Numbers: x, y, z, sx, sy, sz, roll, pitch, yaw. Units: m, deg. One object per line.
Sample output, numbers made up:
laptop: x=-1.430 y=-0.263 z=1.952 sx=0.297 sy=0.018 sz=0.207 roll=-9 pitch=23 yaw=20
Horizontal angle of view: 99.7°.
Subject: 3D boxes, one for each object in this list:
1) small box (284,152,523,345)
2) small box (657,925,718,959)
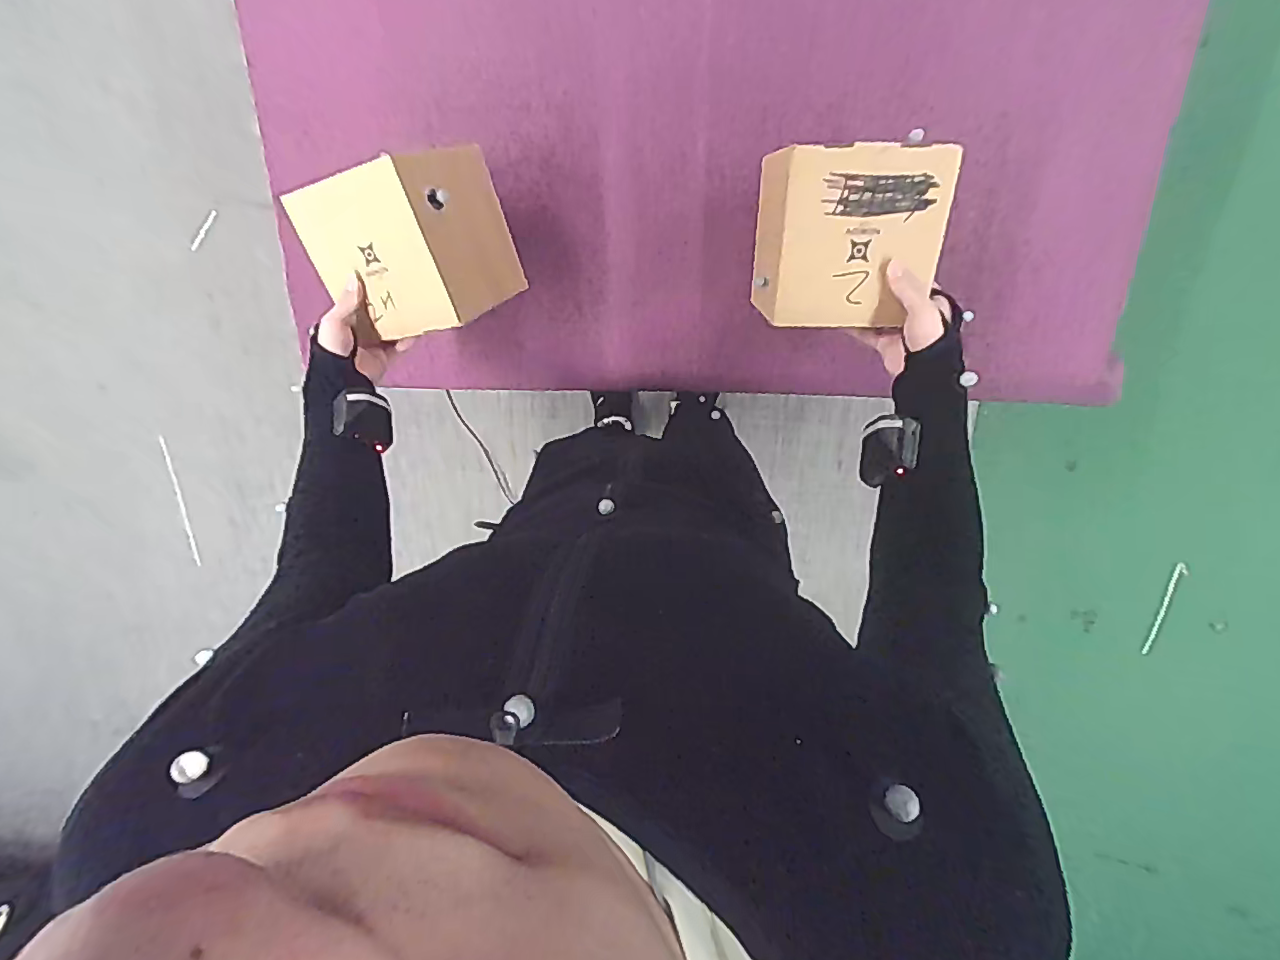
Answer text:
small box: x=-0.274 y=-0.287 z=0.666 sx=0.168 sy=0.176 sz=0.179 roll=-3 pitch=121 yaw=23
small box: x=0.149 y=1.573 z=1.725 sx=0.179 sy=0.176 sz=0.168 roll=13 pitch=109 yaw=3
